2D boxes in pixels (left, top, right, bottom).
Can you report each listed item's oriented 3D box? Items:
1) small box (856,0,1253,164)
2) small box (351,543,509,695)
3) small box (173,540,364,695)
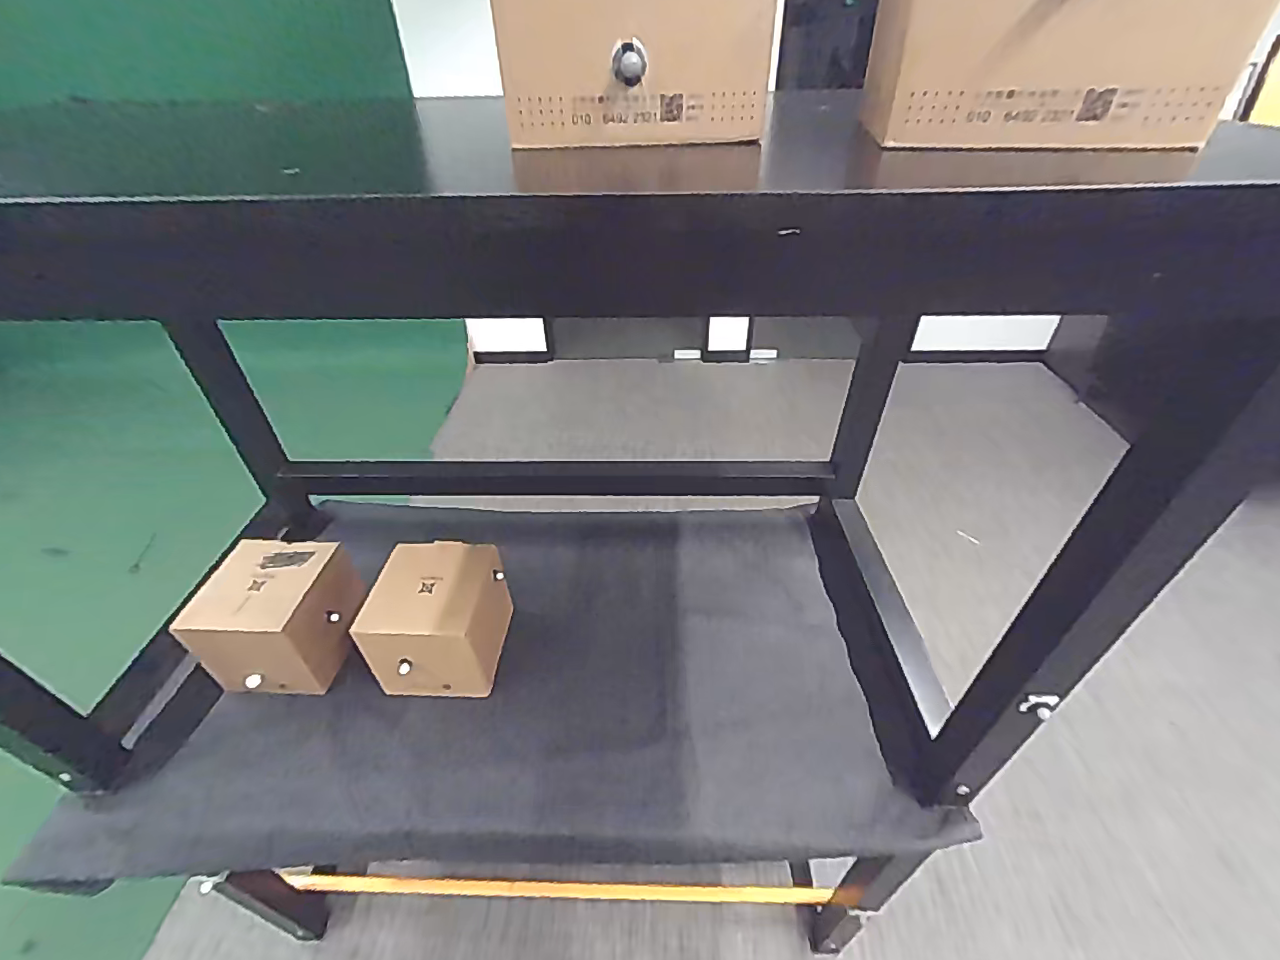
[{"bbox_3d":[0.238,-0.299,0.326,0.168,0.176,0.179,7,39,10],"label":"small box"},{"bbox_3d":[-0.316,0.221,0.861,0.168,0.176,0.179,1,38,2],"label":"small box"},{"bbox_3d":[-0.569,0.217,0.866,0.168,0.176,0.179,1,39,2],"label":"small box"}]
